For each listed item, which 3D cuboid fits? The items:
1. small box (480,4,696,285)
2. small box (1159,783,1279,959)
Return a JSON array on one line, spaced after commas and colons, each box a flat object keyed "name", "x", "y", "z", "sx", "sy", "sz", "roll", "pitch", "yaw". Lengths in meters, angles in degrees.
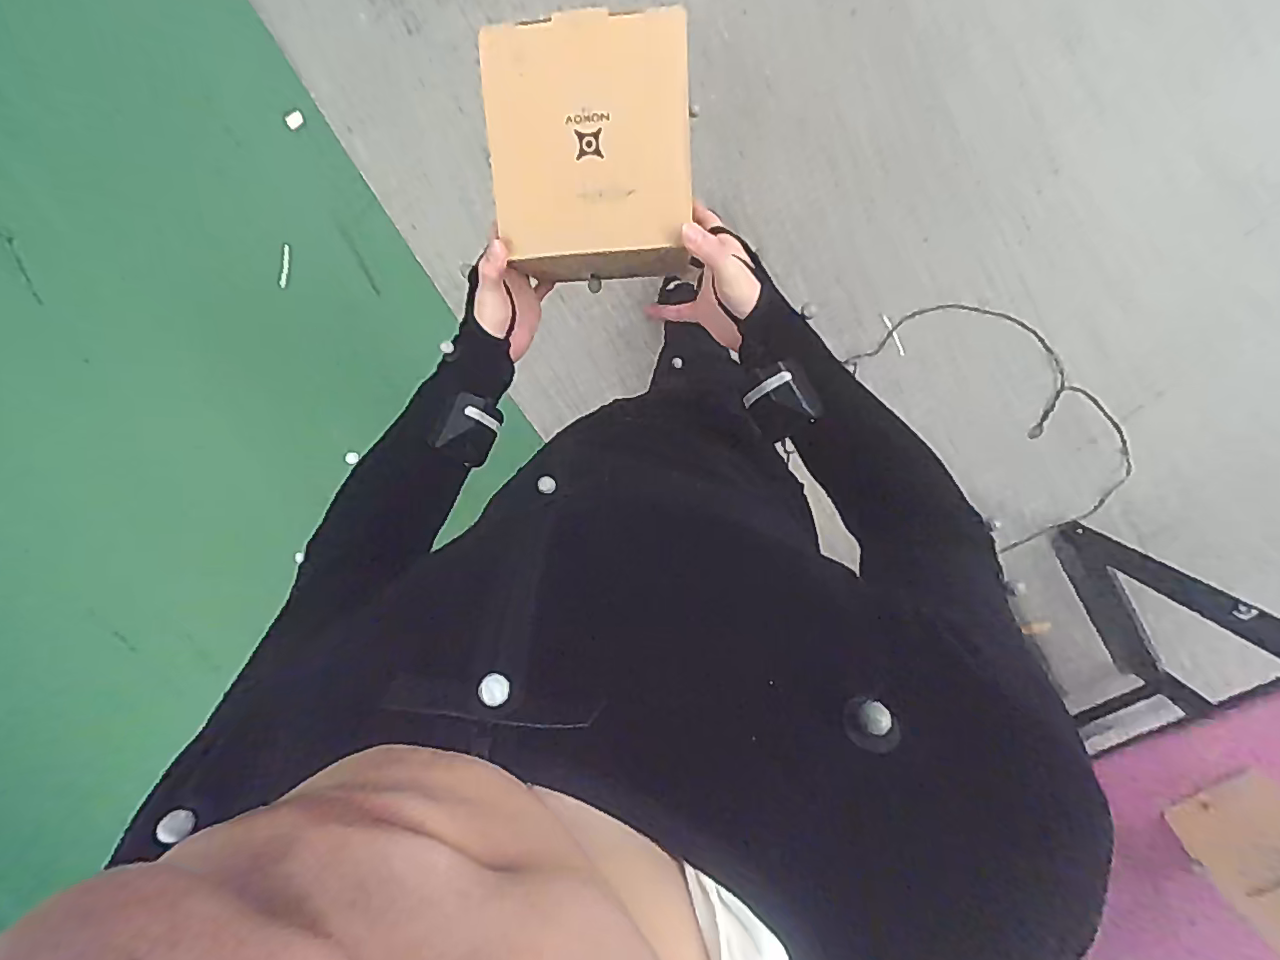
[{"name": "small box", "x": -0.037, "y": -0.290, "z": 0.507, "sx": 0.168, "sy": 0.176, "sz": 0.179, "roll": -2, "pitch": 103, "yaw": 2}, {"name": "small box", "x": 1.019, "y": 0.641, "z": 0.874, "sx": 0.168, "sy": 0.176, "sz": 0.179, "roll": -37, "pitch": 100, "yaw": 11}]
